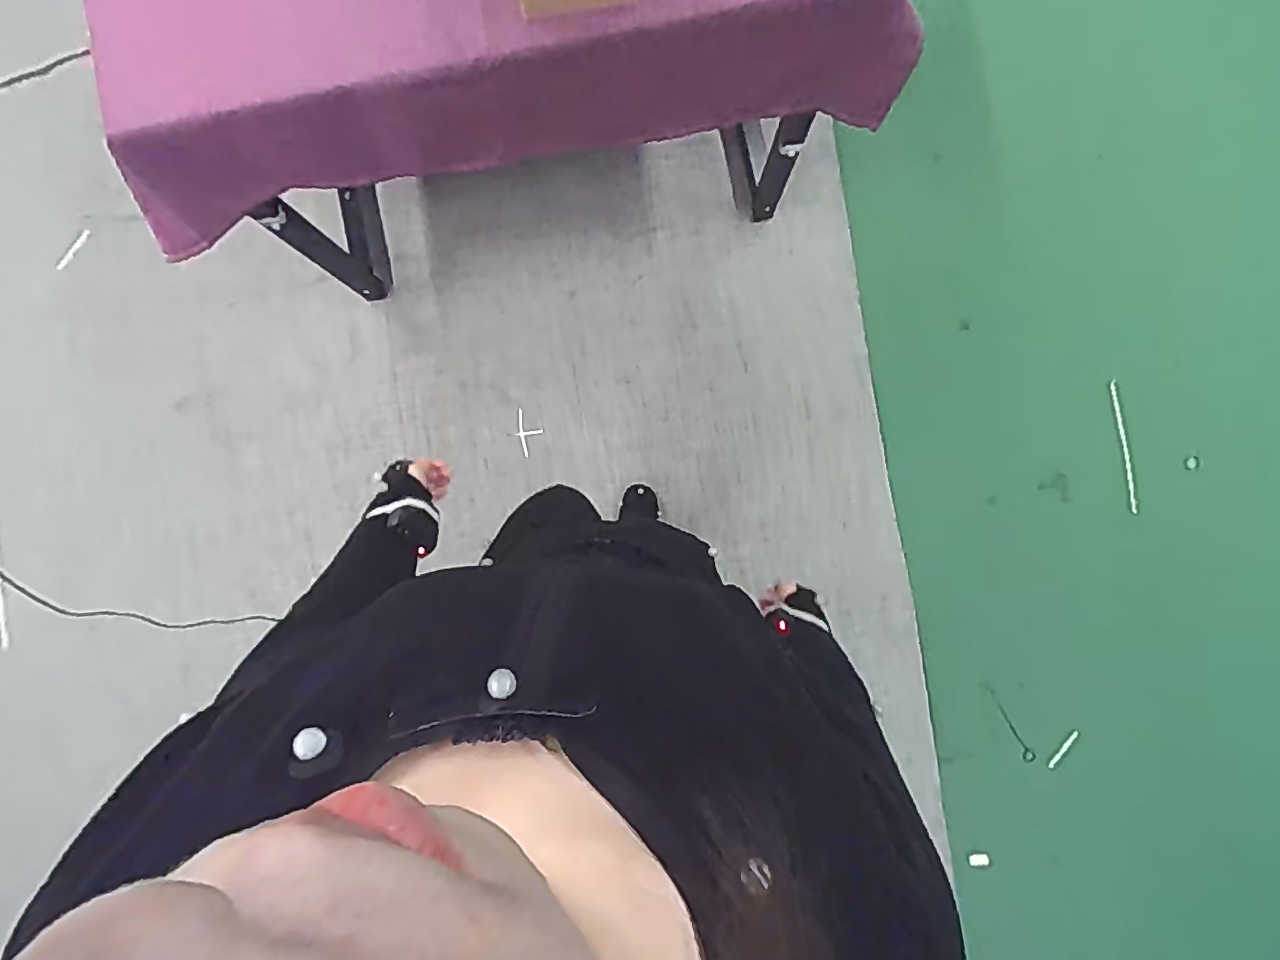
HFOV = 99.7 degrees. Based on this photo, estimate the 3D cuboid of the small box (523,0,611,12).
[{"bbox_3d":[-0.096,-0.785,0.724,0.179,0.176,0.168,-8,88,1],"label":"small box"}]
